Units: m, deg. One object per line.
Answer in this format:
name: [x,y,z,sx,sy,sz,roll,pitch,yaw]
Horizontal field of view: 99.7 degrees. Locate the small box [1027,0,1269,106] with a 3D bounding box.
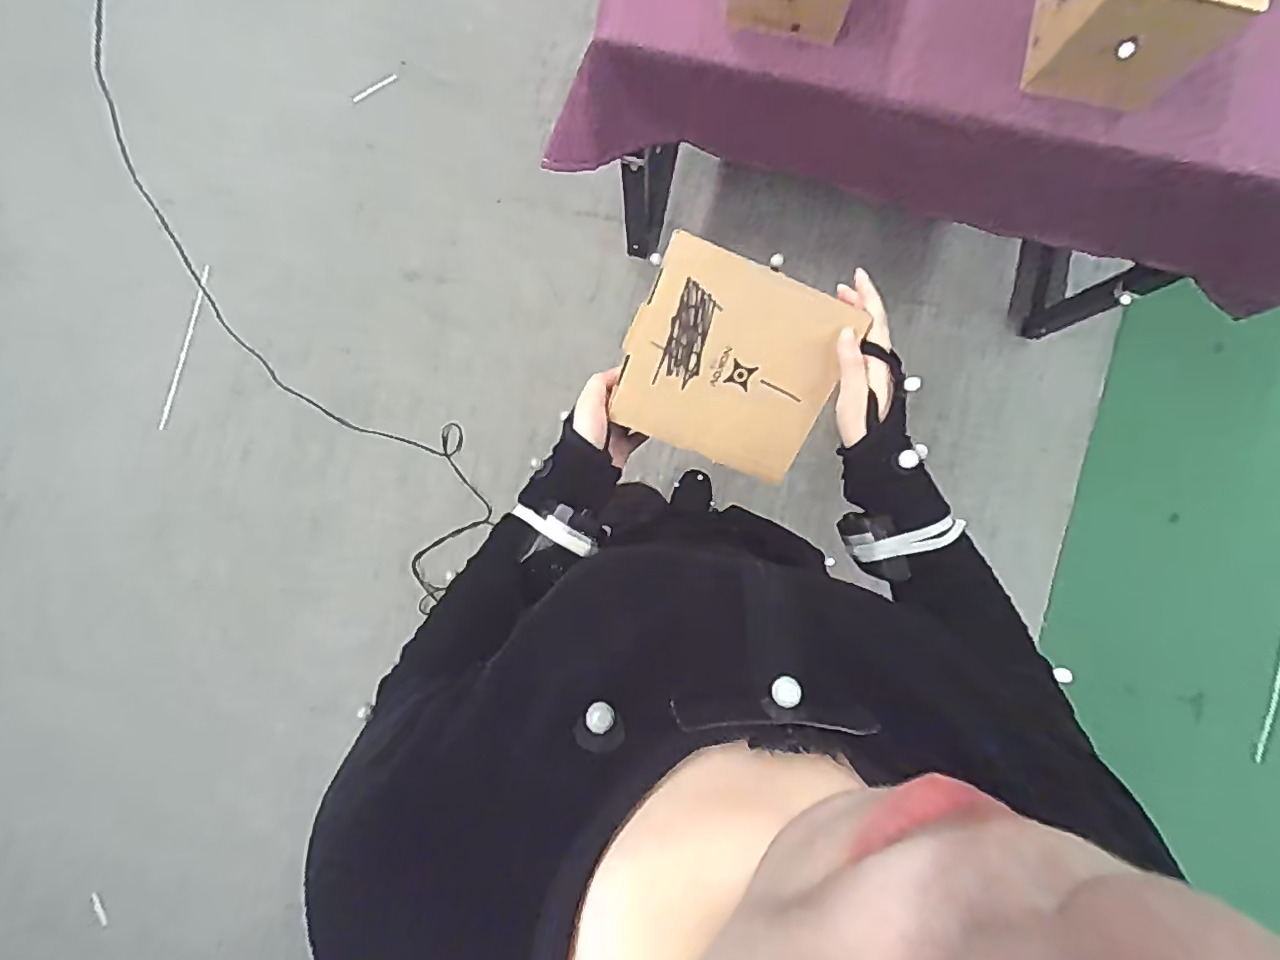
small box: [0.654,-0.633,0.706,0.179,0.176,0.168,12,88,2]

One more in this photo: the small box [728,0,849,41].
small box: [0.220,-0.739,0.715,0.168,0.176,0.179,13,88,0]
